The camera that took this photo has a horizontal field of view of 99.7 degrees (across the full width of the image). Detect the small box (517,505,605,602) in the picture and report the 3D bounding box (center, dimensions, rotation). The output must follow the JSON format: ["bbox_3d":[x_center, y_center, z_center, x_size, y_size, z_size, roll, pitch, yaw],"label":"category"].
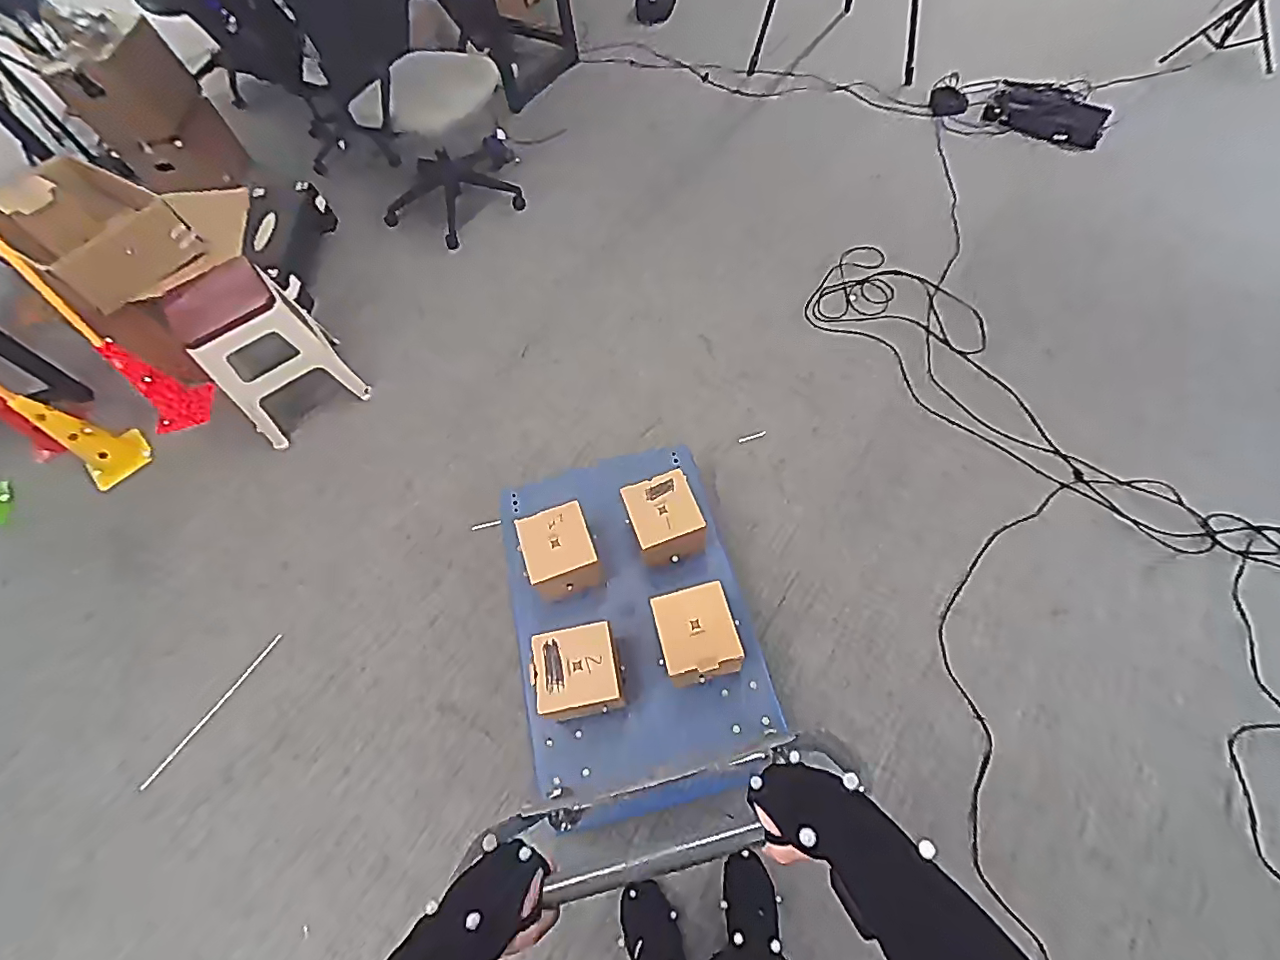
[{"bbox_3d":[-0.195,0.194,1.364,0.168,0.176,0.179,-18,61,-6],"label":"small box"}]

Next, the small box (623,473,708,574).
[{"bbox_3d":[0.064,0.115,1.384,0.168,0.176,0.179,-19,62,-5],"label":"small box"}]

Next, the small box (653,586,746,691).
[{"bbox_3d":[0.130,0.368,1.241,0.168,0.176,0.179,-14,62,-3],"label":"small box"}]
